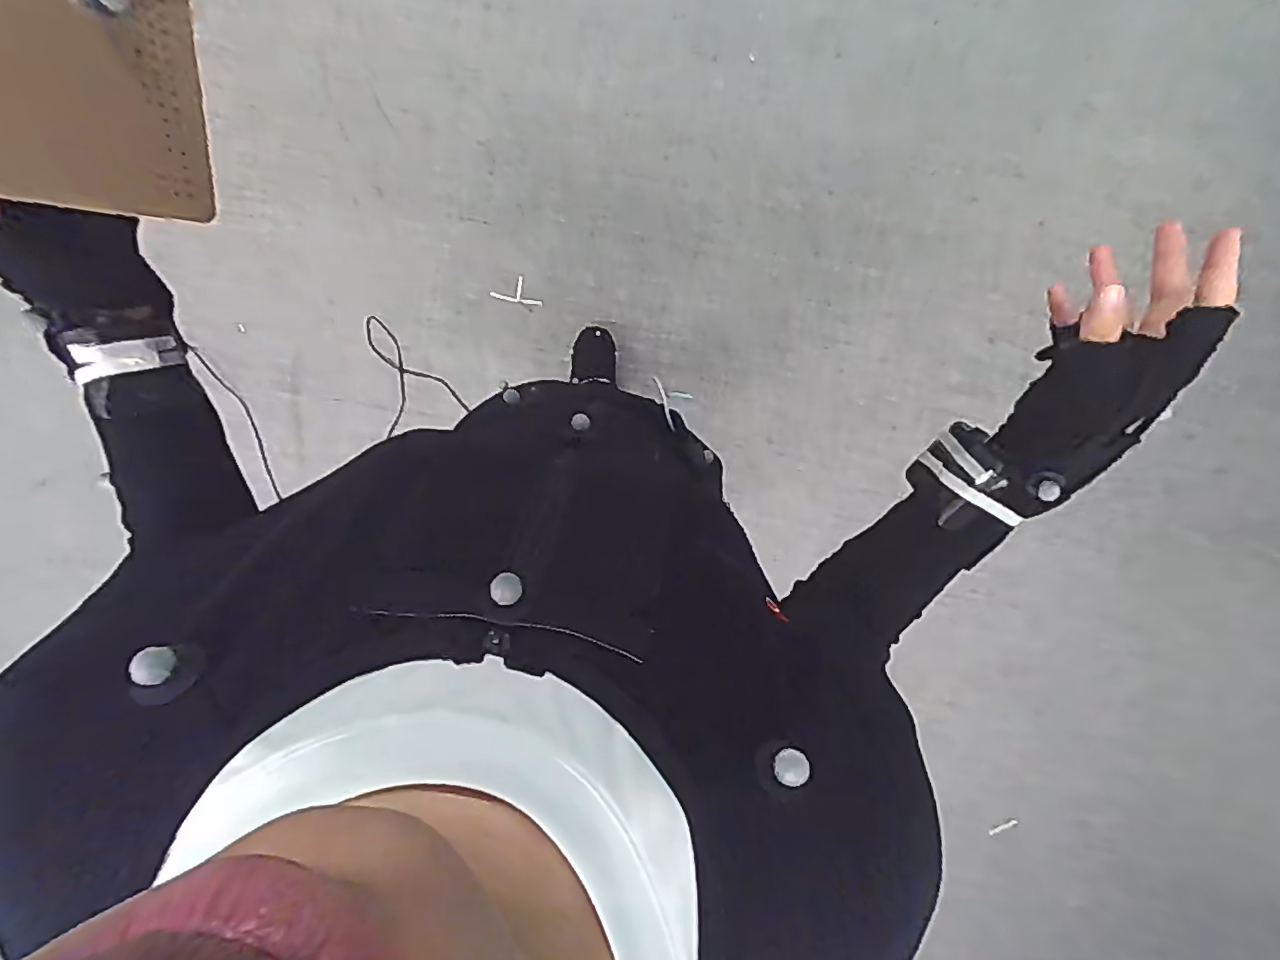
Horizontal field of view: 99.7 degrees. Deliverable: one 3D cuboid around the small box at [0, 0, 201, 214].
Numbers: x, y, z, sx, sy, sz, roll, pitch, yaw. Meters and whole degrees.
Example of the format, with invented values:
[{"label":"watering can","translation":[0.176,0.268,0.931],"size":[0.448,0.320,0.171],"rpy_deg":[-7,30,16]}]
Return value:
[{"label":"small box","translation":[-0.316,-0.214,0.201],"size":[0.168,0.176,0.179],"rpy_deg":[12,111,12]}]
